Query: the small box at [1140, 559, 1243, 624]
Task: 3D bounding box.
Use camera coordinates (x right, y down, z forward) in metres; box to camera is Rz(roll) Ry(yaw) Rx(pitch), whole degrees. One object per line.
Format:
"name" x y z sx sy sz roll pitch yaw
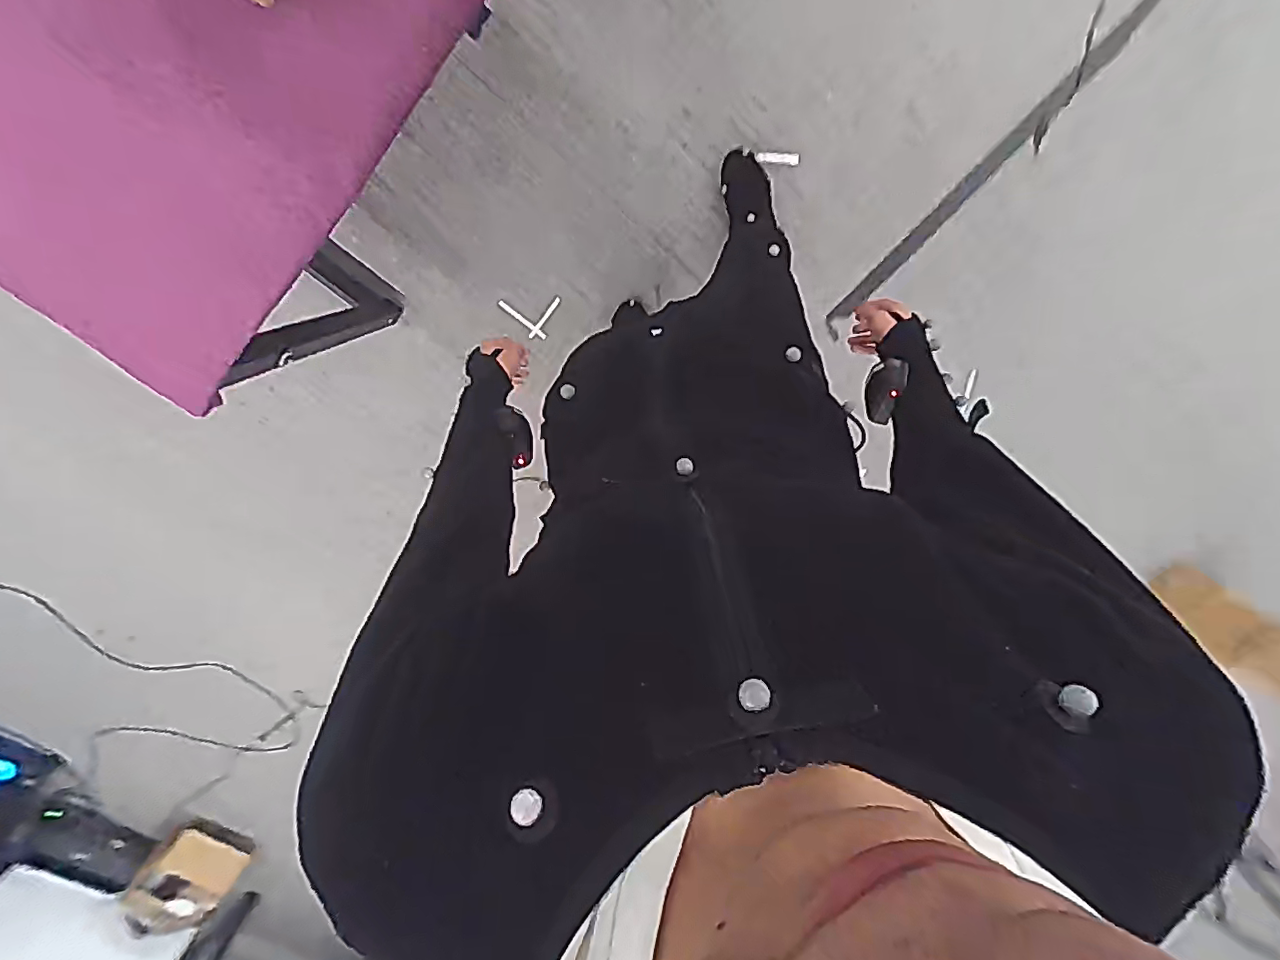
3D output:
"small box" 1.812 0.389 1.761 0.179 0.176 0.168 34 110 -14

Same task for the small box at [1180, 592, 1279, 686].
"small box" 1.805 0.469 1.618 0.168 0.176 0.179 33 111 -13

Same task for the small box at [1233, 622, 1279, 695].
"small box" 1.794 0.512 1.457 0.179 0.176 0.168 37 109 -14
